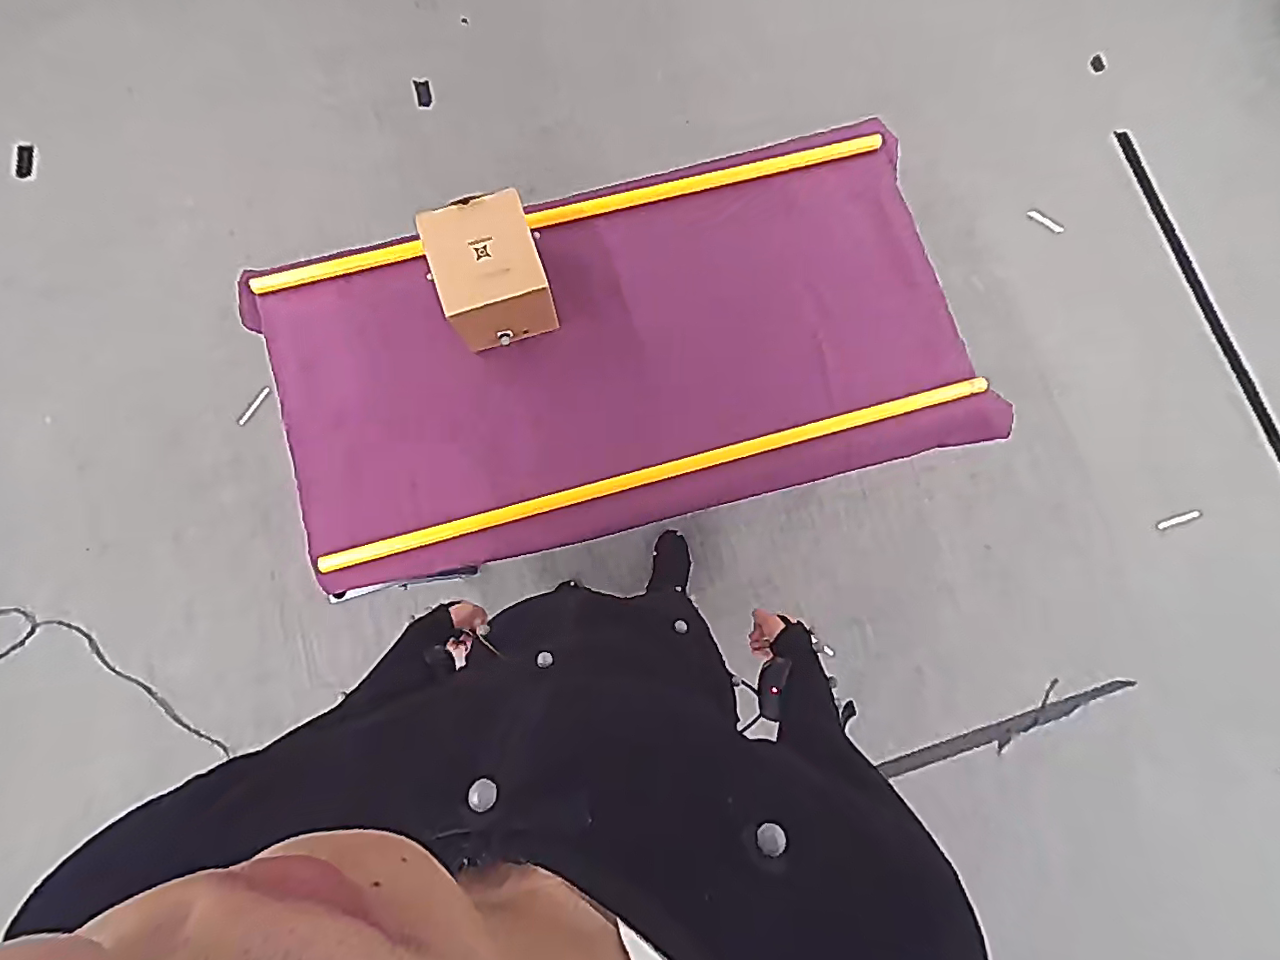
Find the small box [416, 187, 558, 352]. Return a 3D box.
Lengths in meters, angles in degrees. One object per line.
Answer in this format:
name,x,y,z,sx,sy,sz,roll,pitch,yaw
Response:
small box,-0.246,-0.342,0.906,0.168,0.176,0.179,-19,84,-5
